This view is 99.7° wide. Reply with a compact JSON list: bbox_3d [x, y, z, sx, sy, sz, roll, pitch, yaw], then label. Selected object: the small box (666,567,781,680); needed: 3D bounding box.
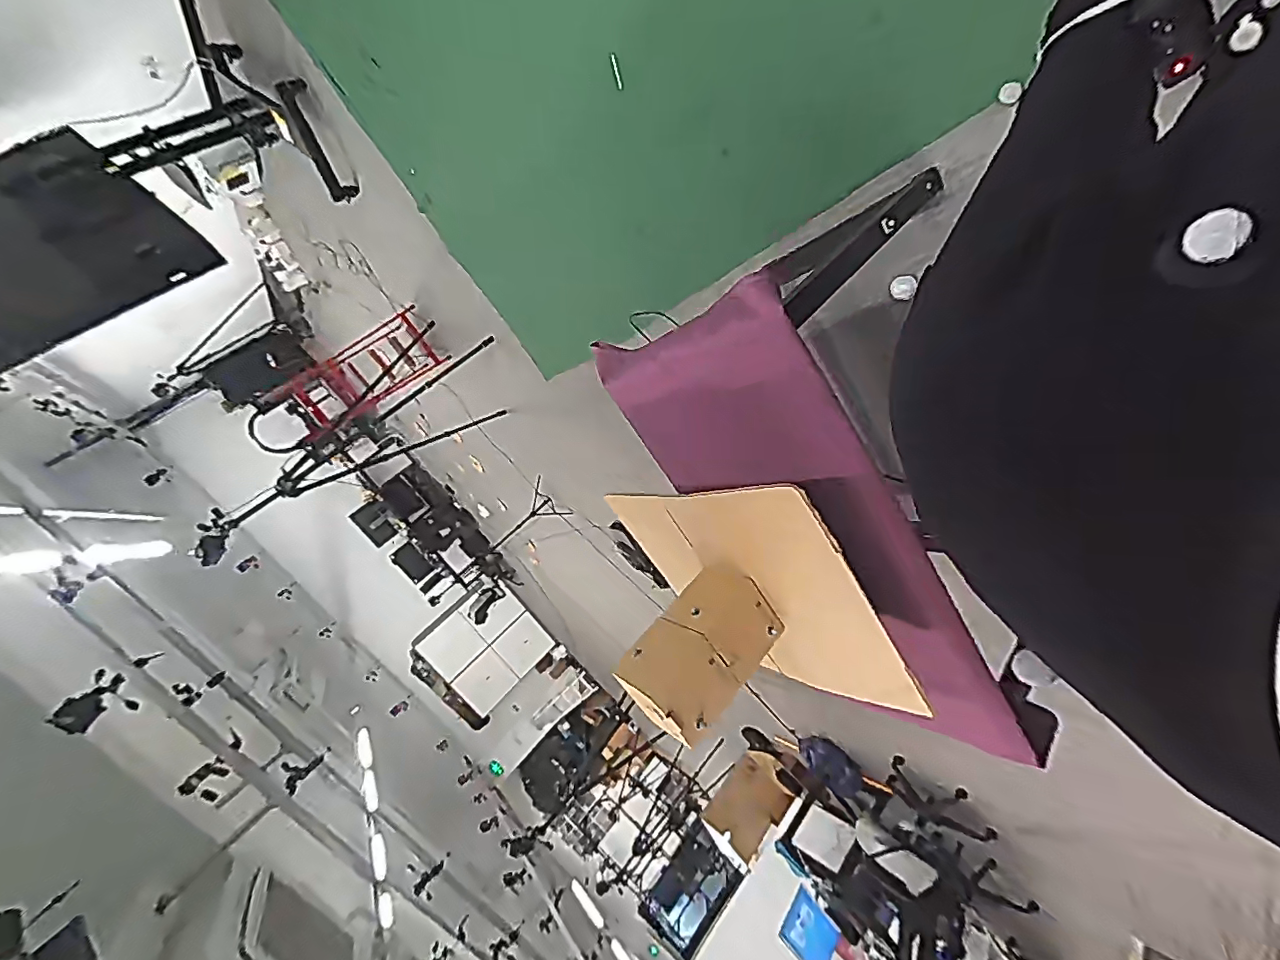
[{"bbox_3d":[0.199,0.321,1.249,0.168,0.176,0.179,55,156,-18],"label":"small box"}]
